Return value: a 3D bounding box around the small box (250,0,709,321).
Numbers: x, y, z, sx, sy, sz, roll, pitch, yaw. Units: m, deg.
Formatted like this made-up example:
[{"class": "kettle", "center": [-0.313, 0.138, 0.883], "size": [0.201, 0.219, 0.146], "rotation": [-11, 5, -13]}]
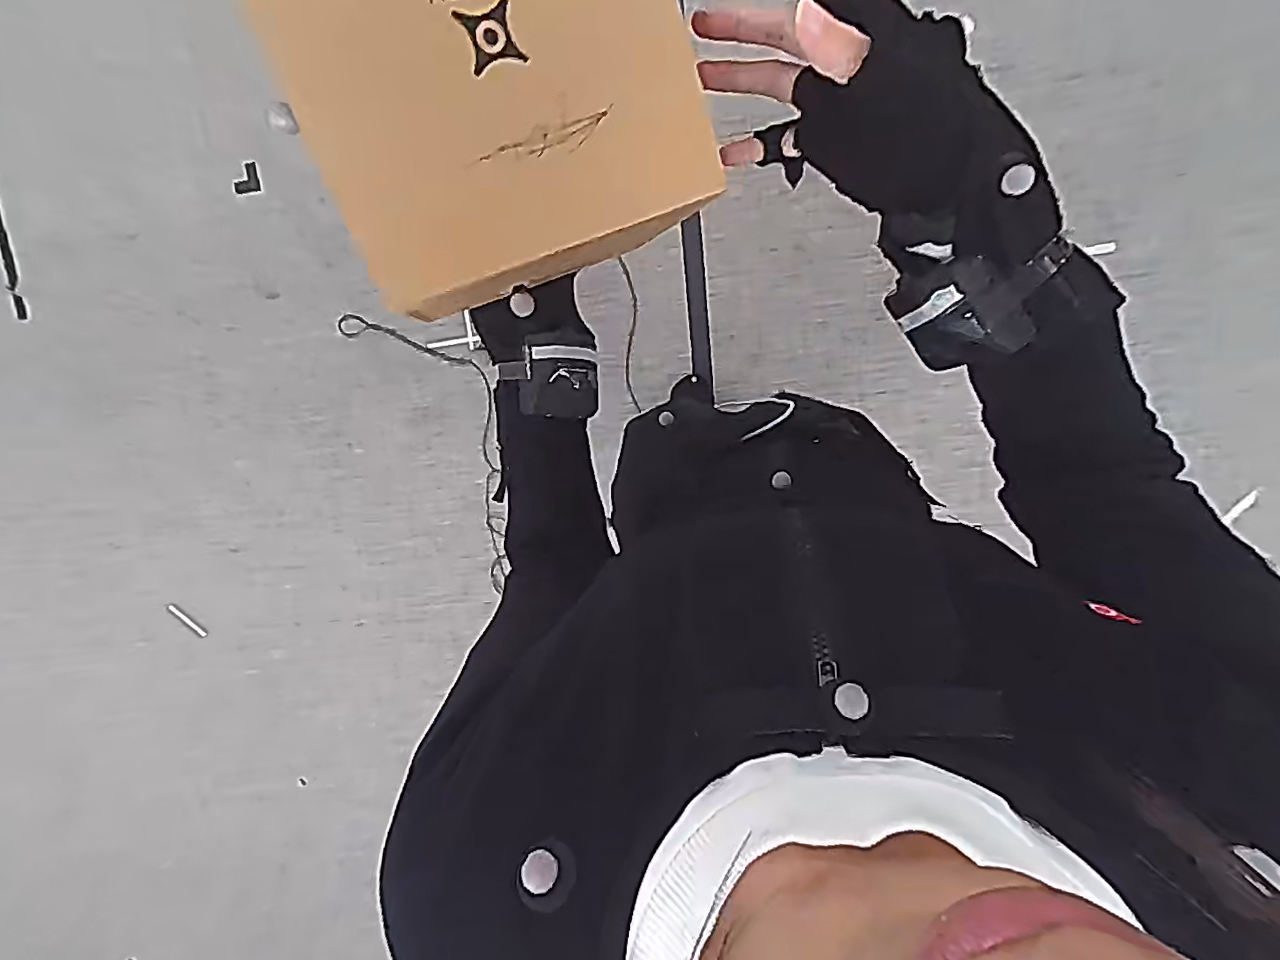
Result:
[{"class": "small box", "center": [-0.088, -0.203, 0.306], "size": [0.168, 0.176, 0.179], "rotation": [-24, 109, -9]}]
